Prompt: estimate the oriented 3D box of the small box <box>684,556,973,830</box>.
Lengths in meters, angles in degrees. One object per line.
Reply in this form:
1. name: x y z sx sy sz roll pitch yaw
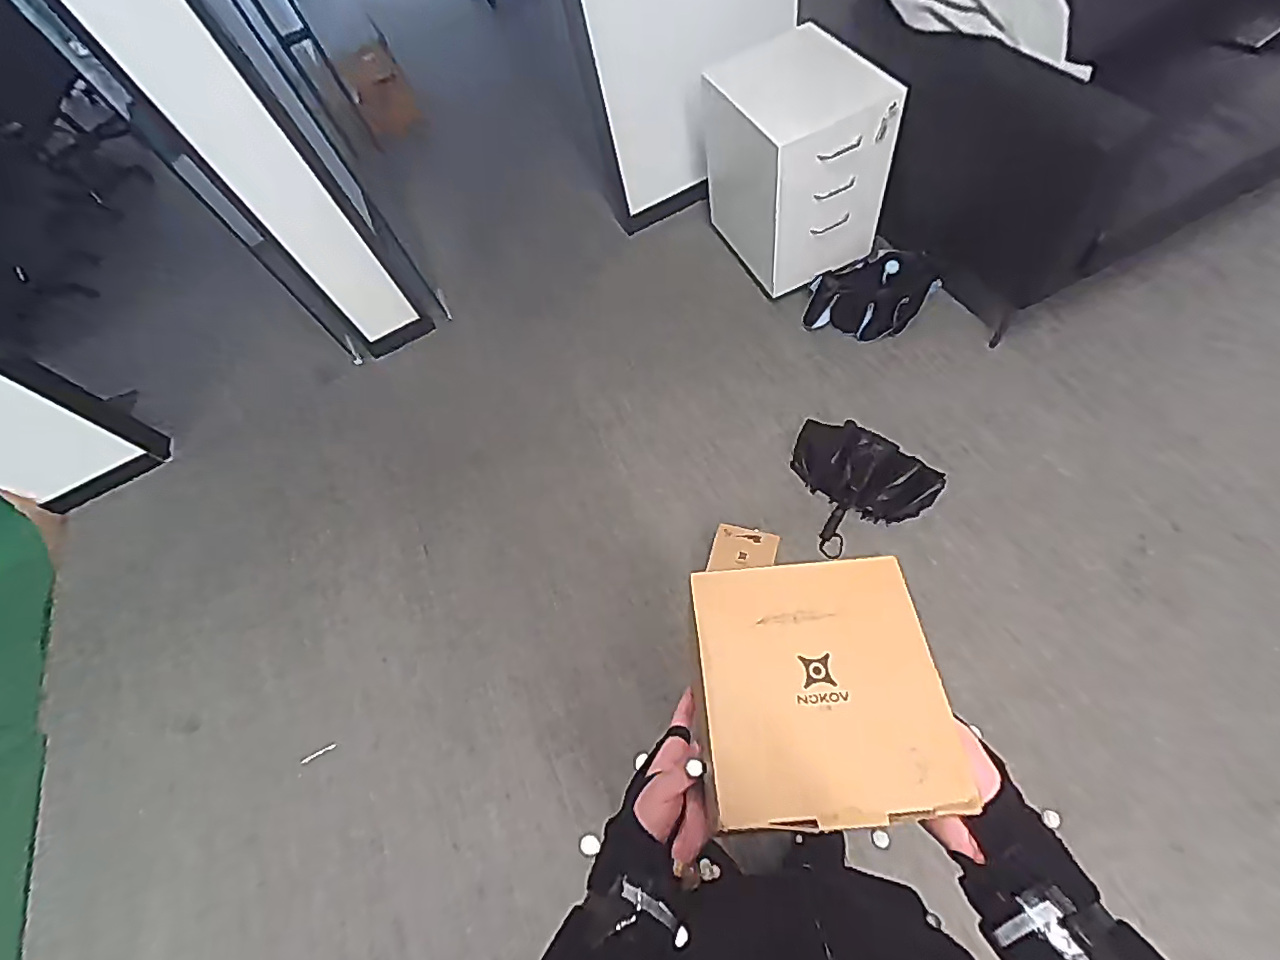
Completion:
1. small box: 0.127 0.182 0.448 0.168 0.176 0.179 -4 55 0
